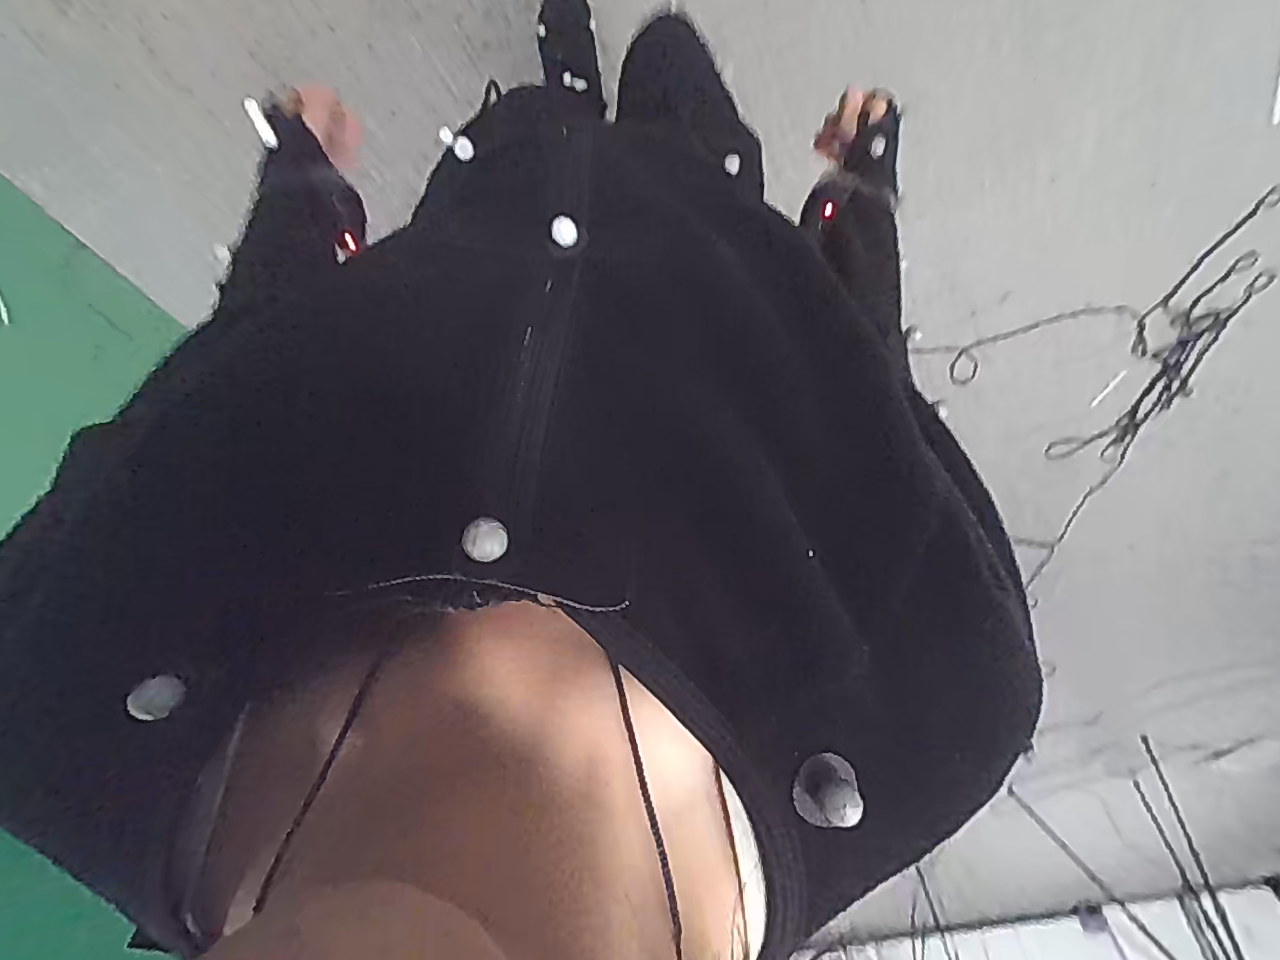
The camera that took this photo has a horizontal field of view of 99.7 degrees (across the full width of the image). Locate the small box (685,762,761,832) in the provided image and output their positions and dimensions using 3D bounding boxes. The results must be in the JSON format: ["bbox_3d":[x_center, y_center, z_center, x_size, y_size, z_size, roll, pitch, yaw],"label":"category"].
[{"bbox_3d":[0.254,1.003,1.687,0.168,0.176,0.179,-26,128,19],"label":"small box"}]

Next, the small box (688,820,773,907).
[{"bbox_3d":[0.255,1.096,1.548,0.168,0.176,0.179,-32,126,22],"label":"small box"}]
